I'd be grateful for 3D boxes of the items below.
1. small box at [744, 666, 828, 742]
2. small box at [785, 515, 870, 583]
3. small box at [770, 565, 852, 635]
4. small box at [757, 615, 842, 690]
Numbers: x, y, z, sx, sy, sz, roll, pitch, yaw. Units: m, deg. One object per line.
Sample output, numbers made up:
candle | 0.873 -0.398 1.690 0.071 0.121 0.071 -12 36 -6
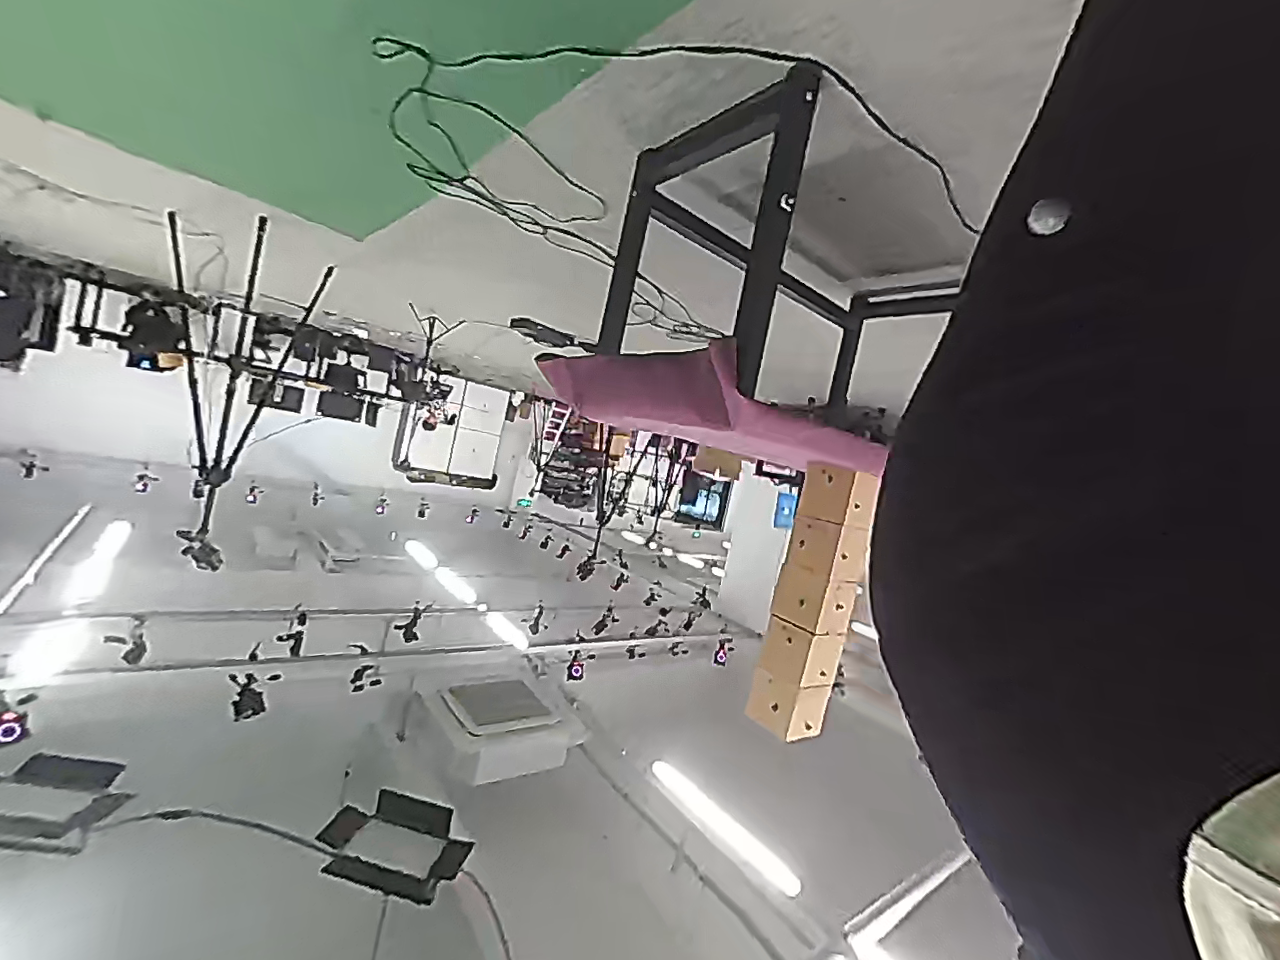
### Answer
small box | 0.454 0.682 1.680 0.179 0.176 0.168 12 -177 -37
small box | 0.576 0.208 1.661 0.179 0.176 0.168 11 -177 -38
small box | 0.535 0.366 1.672 0.168 0.176 0.179 13 -178 -37
small box | 0.498 0.526 1.674 0.179 0.176 0.168 13 -178 -37
